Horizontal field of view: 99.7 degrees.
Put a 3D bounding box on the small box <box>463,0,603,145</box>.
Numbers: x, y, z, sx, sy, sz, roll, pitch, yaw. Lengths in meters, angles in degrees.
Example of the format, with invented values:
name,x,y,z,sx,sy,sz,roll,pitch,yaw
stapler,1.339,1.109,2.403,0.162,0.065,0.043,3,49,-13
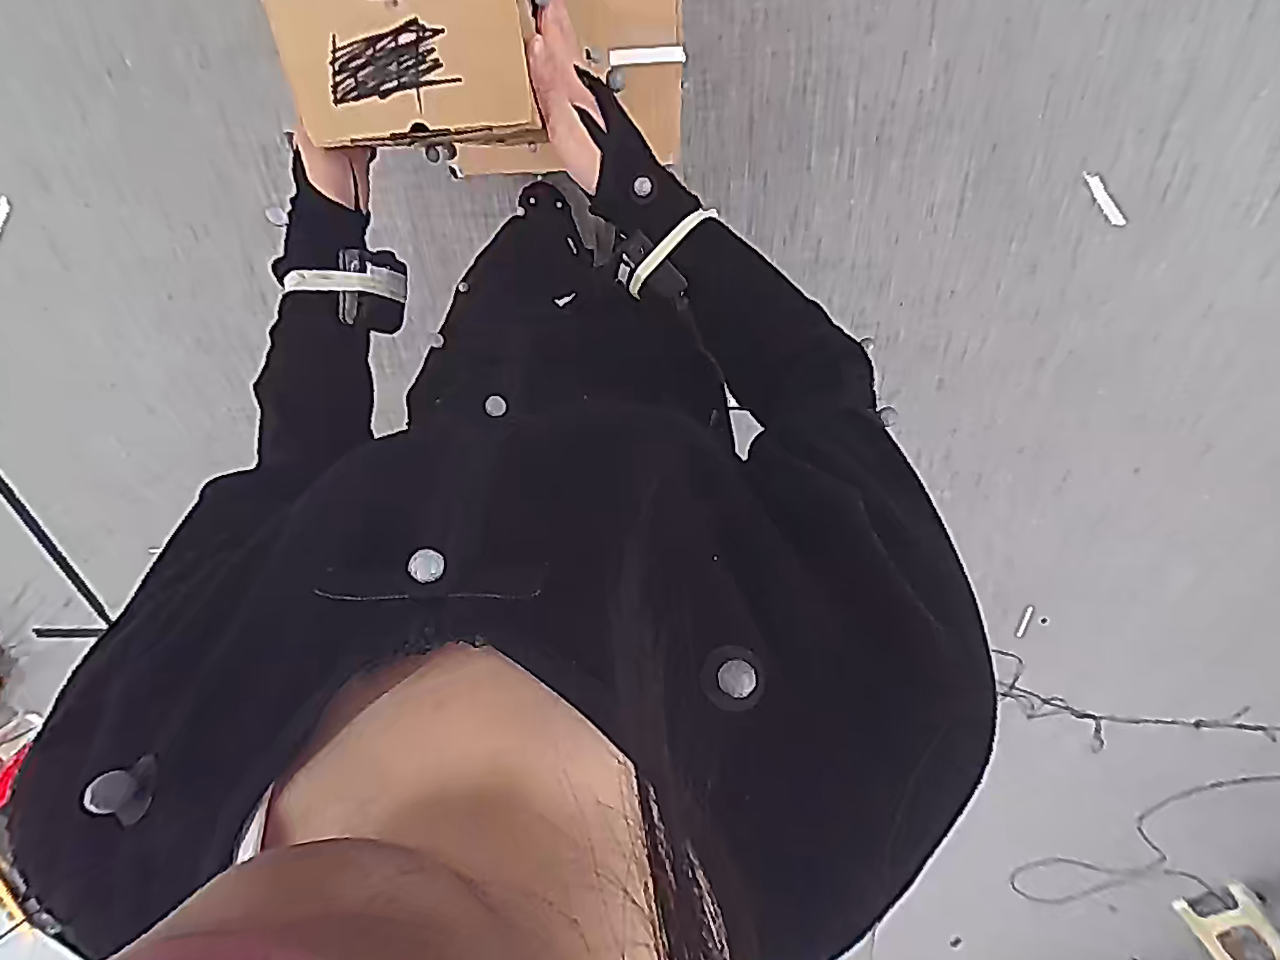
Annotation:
name,x,y,z,sx,sy,sz,roll,pitch,yaw
small box,-0.141,-0.530,0.680,0.168,0.176,0.179,-2,122,4

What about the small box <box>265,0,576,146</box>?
name,x,y,z,sx,sy,sz,roll,pitch,yaw
small box,-0.149,-0.354,0.396,0.168,0.176,0.179,-1,121,6

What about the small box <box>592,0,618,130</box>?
name,x,y,z,sx,sy,sz,roll,pitch,yaw
small box,-0.132,-0.621,0.815,0.179,0.176,0.168,-4,122,3
